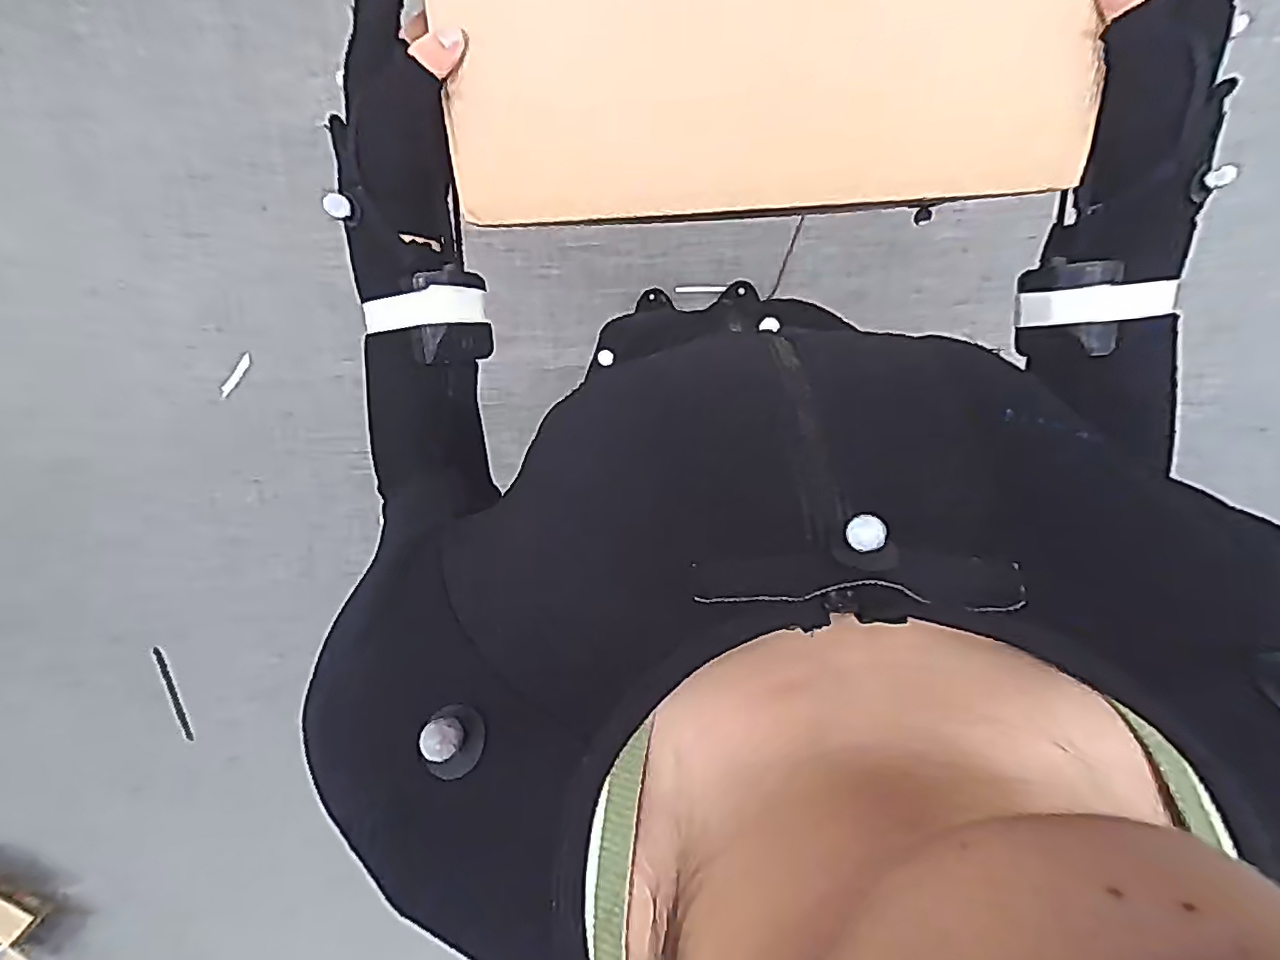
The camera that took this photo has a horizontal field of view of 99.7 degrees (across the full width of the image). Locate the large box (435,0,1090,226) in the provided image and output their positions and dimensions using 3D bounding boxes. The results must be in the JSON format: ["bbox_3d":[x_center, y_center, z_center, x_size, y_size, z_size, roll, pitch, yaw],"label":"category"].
[{"bbox_3d":[0.077,-0.394,0.444,0.408,0.320,0.320,-1,115,4],"label":"large box"}]
